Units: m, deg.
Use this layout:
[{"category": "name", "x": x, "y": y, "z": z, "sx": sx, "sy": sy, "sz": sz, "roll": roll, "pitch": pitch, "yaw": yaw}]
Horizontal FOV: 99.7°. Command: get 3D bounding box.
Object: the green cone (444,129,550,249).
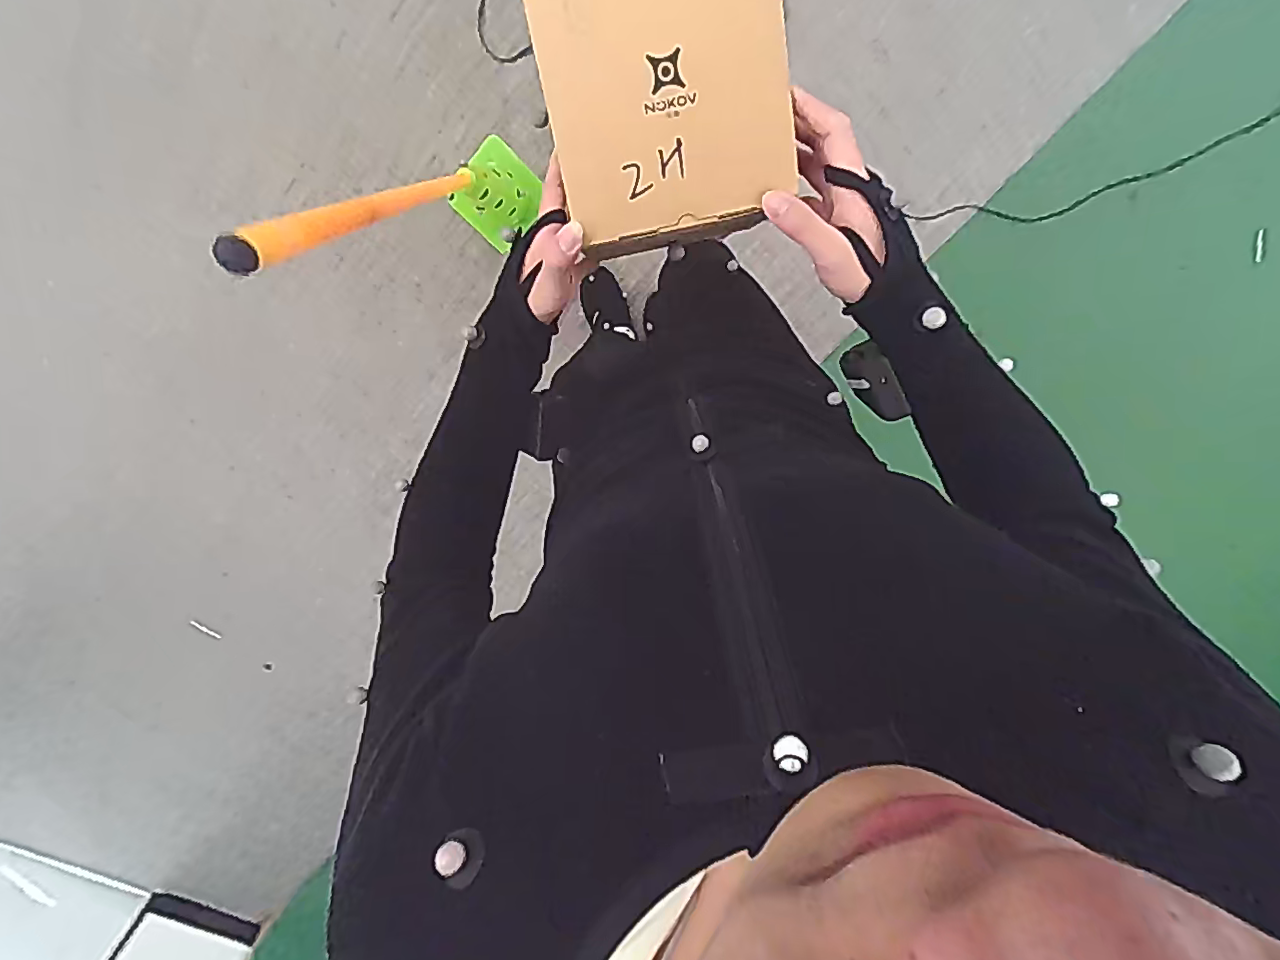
[{"category": "green cone", "x": -0.336, "y": -0.640, "z": 1.165, "sx": 0.200, "sy": 0.368, "sz": 0.202, "roll": 40, "pitch": 104, "yaw": -19}]
